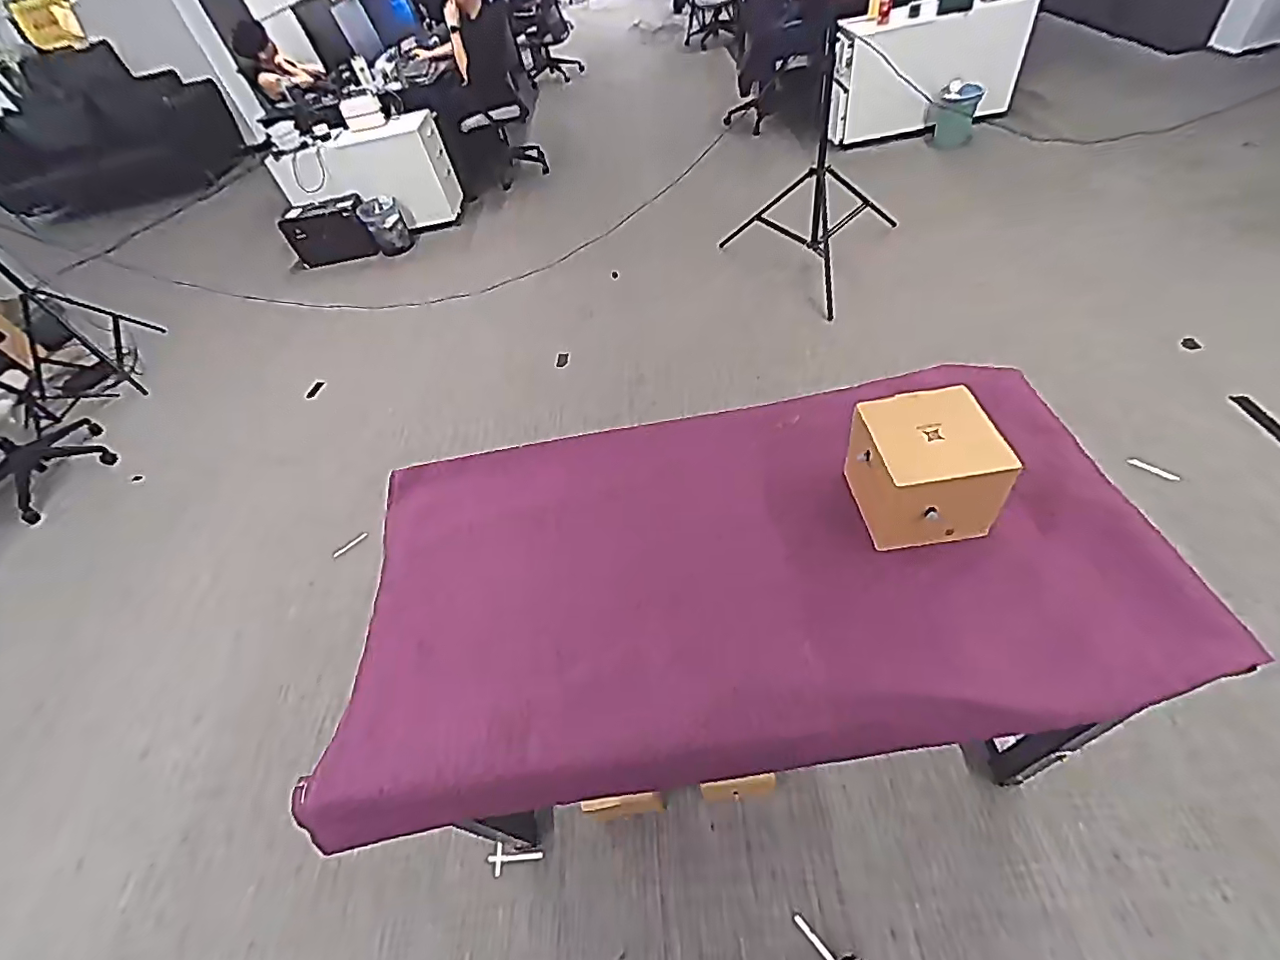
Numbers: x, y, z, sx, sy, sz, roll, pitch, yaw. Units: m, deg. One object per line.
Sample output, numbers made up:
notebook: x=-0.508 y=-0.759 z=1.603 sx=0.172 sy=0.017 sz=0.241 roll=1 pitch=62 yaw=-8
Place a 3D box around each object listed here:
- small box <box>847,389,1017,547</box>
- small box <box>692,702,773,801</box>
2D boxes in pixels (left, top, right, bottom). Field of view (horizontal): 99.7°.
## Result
small box: x=0.435 y=-0.010 z=0.840 sx=0.168 sy=0.176 sz=0.179 roll=-9 pitch=48 yaw=5
small box: x=0.219 y=0.652 z=1.289 sx=0.168 sy=0.176 sz=0.179 roll=-8 pitch=48 yaw=5
